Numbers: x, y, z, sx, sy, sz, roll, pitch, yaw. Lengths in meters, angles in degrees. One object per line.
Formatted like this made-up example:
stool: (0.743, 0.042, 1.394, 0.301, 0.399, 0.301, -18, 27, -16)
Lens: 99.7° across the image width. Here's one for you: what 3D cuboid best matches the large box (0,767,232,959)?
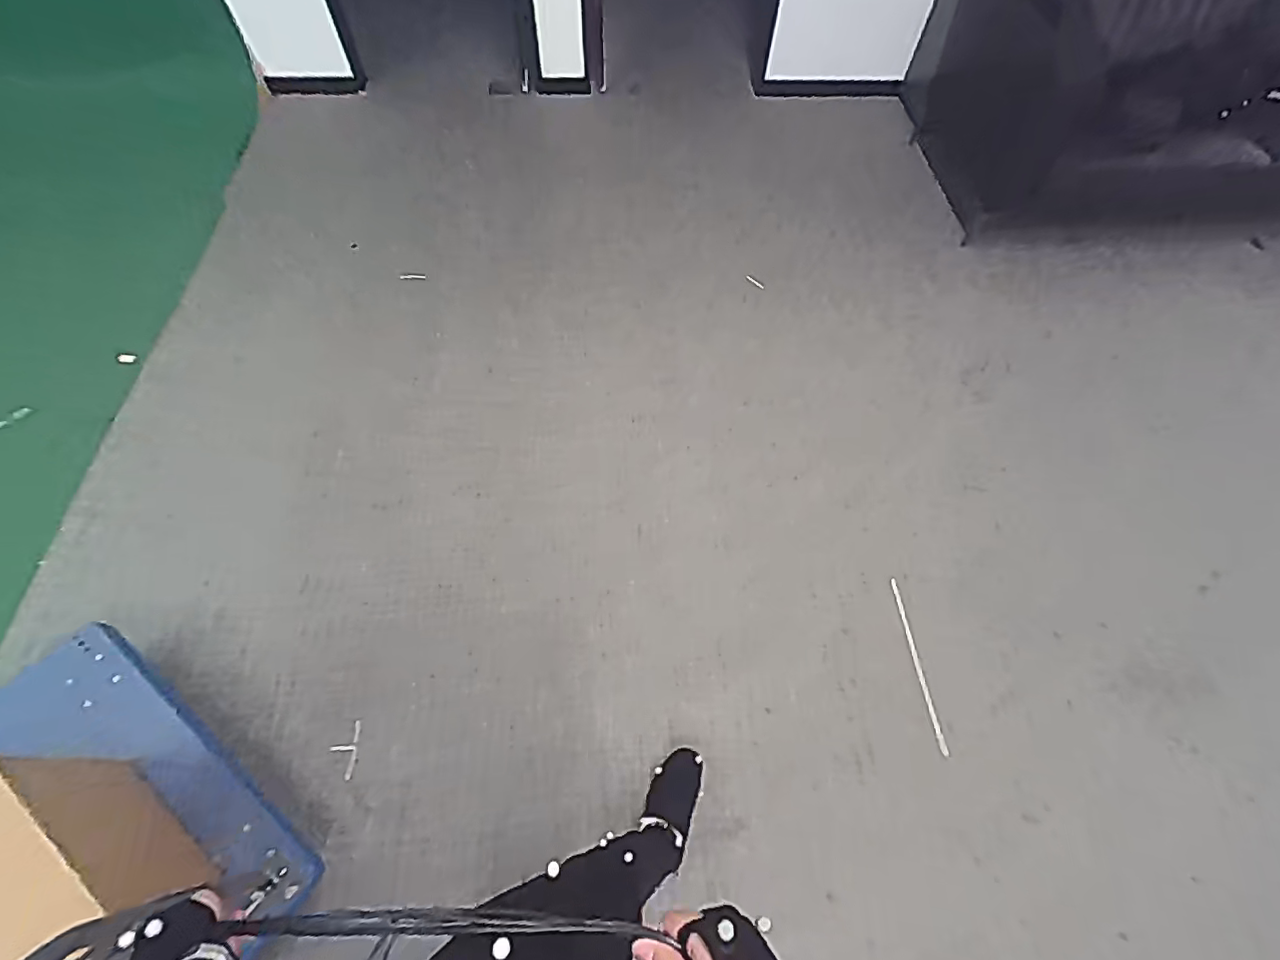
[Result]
large box: (-1.044, 0.763, 0.932, 0.408, 0.320, 0.320, 32, 63, 17)
